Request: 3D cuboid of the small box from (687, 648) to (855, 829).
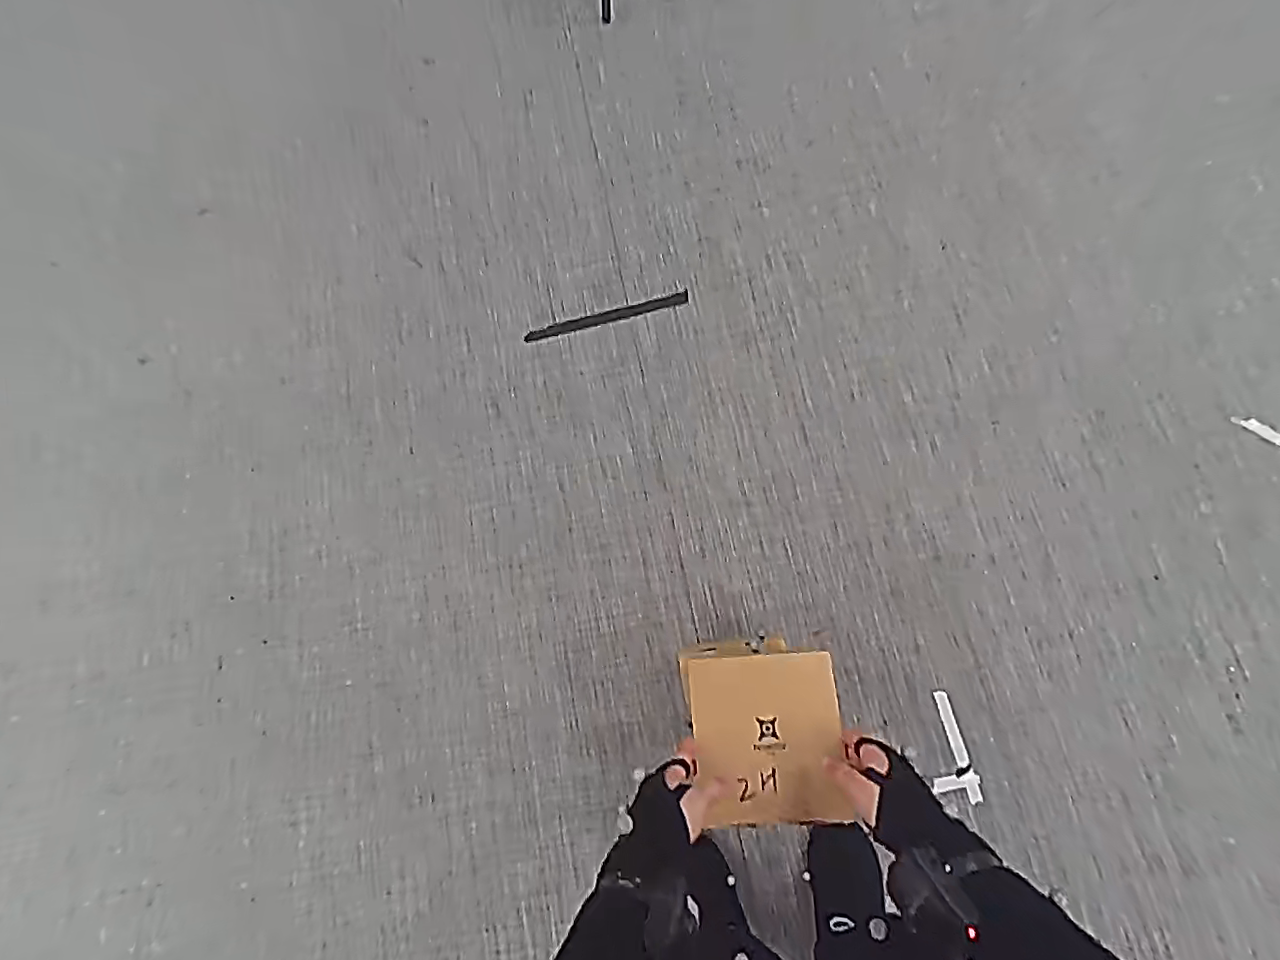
[{"bbox_3d":[0.146,0.304,0.668,0.168,0.176,0.179,-5,73,5],"label":"small box"}]
